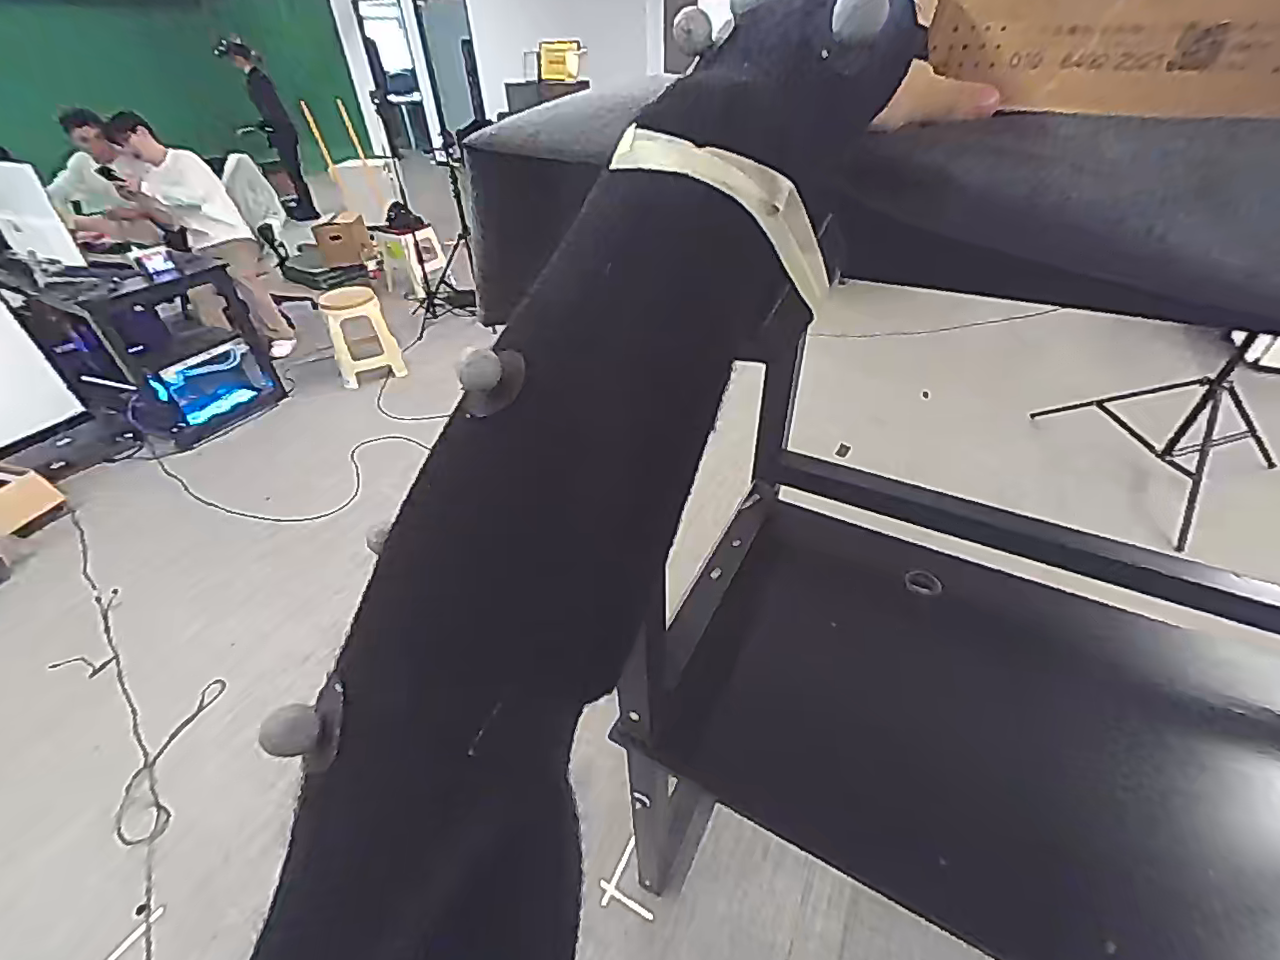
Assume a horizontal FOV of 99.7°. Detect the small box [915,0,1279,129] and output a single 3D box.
[{"bbox_3d":[0.238,-0.267,0.236,0.168,0.176,0.179,18,42,21],"label":"small box"}]
